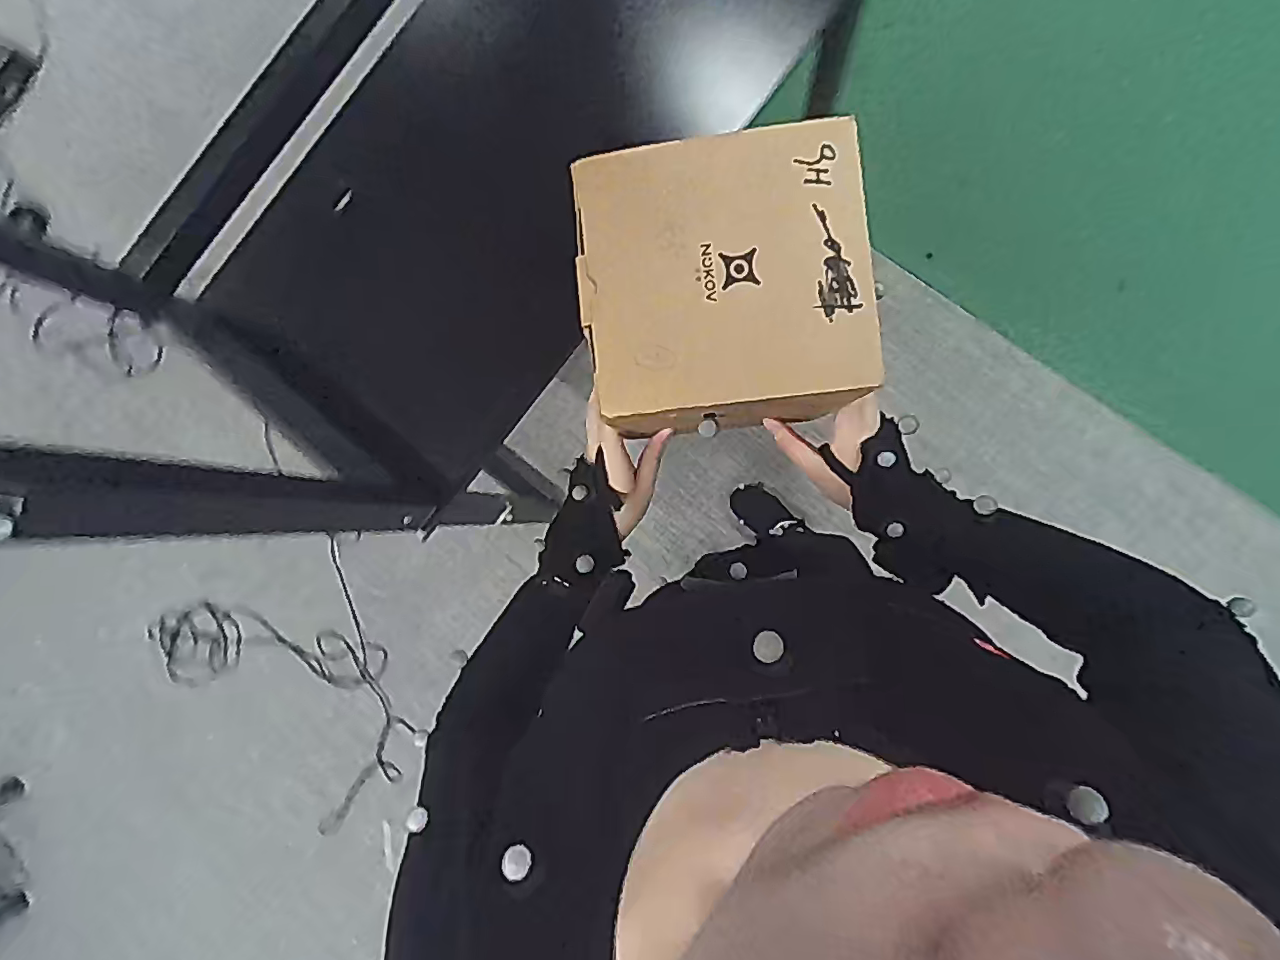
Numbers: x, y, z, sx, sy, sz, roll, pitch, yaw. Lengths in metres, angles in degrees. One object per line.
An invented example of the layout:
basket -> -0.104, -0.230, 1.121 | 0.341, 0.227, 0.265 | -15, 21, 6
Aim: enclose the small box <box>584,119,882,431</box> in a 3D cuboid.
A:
small box -> 0.064, -0.132, 0.416 | 0.179, 0.176, 0.168 | -5, 90, 6
